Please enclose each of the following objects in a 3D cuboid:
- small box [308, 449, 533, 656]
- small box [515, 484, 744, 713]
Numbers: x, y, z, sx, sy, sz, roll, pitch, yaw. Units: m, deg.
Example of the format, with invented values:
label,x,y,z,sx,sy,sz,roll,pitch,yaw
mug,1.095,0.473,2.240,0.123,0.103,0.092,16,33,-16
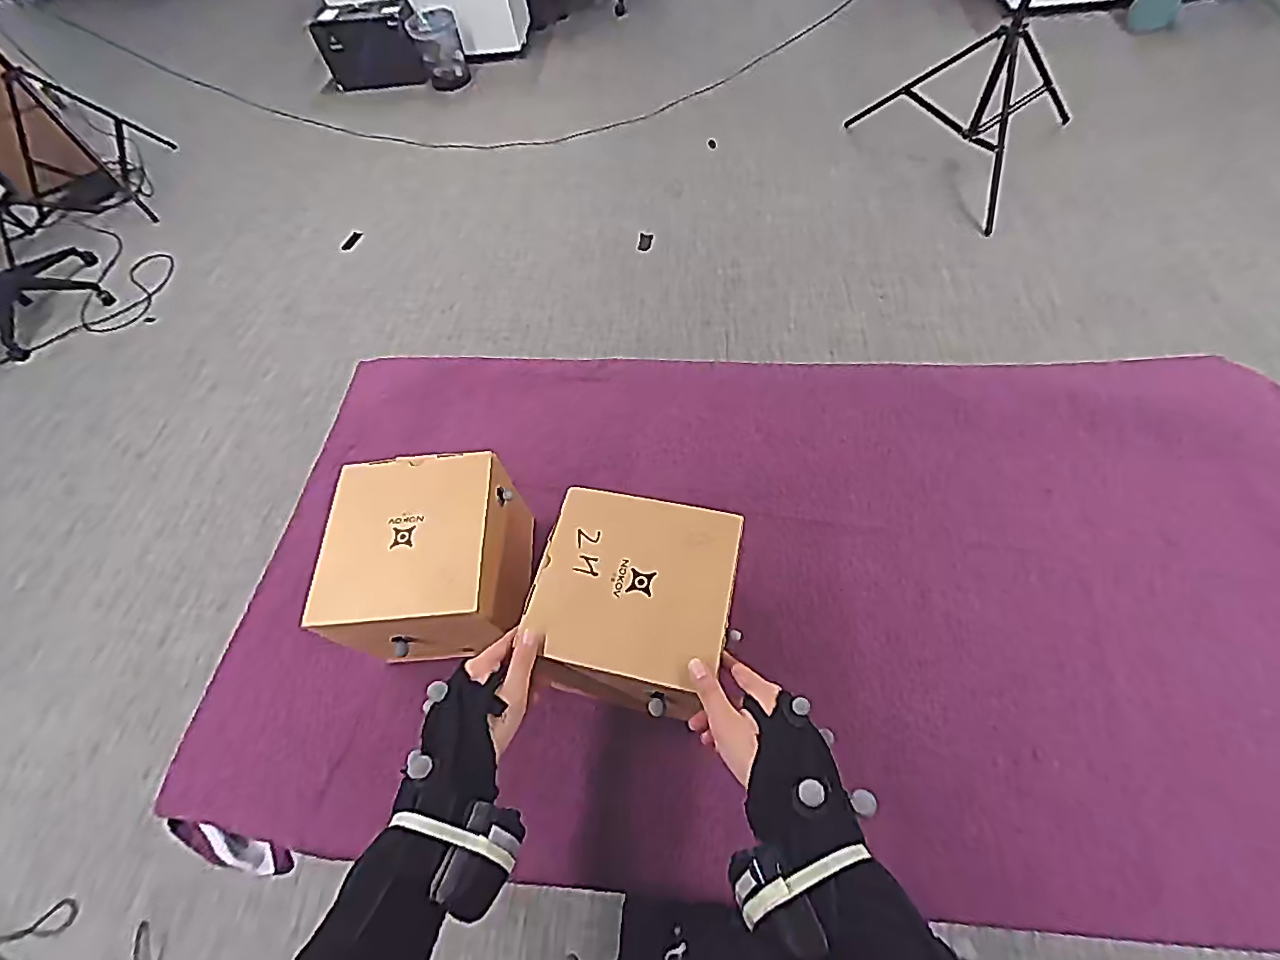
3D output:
label,x,y,z,sx,sy,sz,roll,pitch,yaw
small box,-0.222,0.090,0.601,0.168,0.176,0.179,-6,59,3
small box,0.002,0.127,0.552,0.179,0.176,0.168,9,59,12
